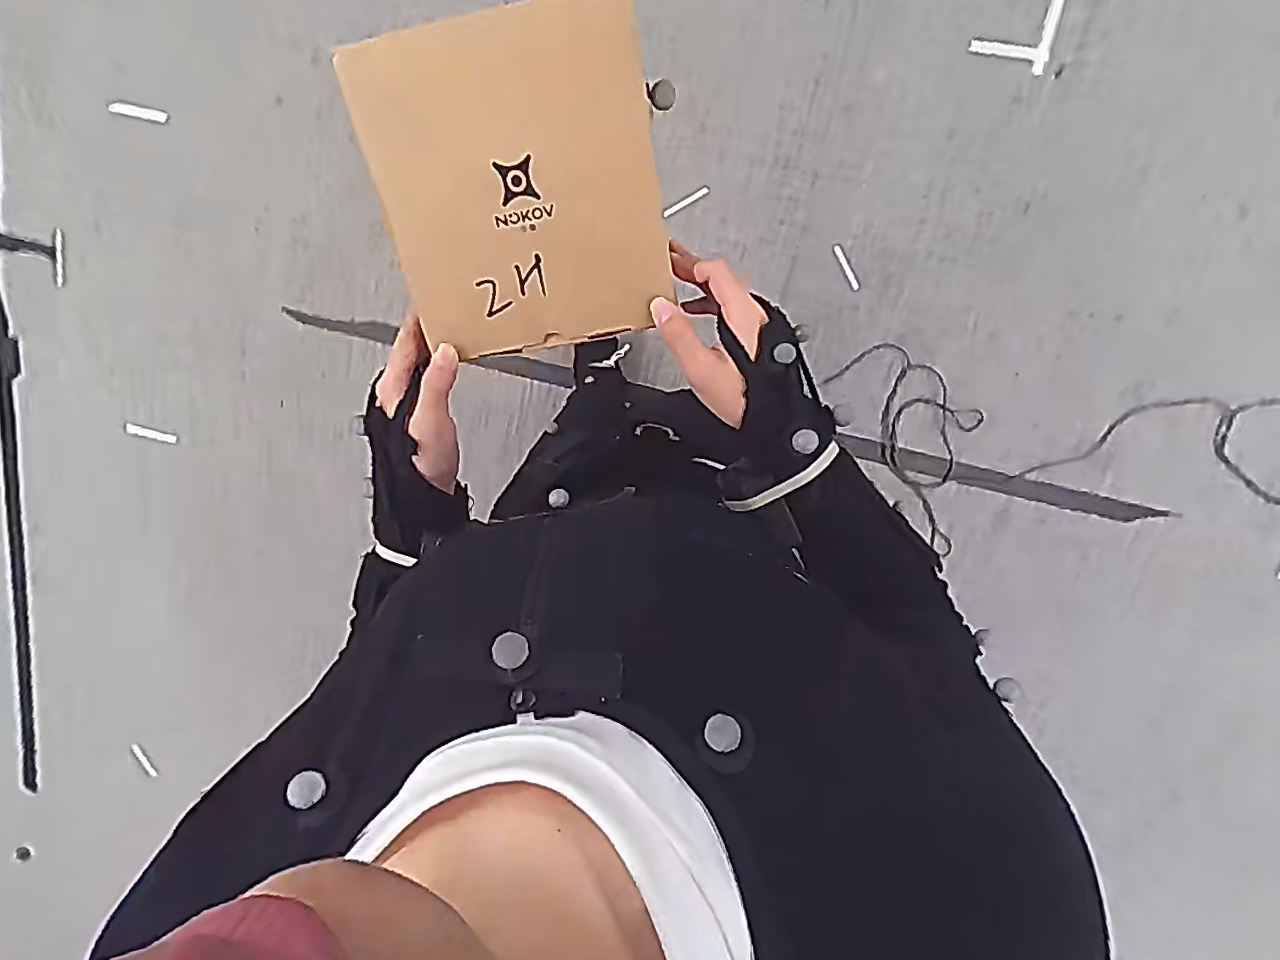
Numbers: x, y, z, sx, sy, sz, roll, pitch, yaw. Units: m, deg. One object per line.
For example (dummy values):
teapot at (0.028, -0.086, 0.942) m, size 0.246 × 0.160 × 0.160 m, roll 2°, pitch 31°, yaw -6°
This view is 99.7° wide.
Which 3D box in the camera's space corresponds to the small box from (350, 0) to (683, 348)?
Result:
small box at (-0.063, -0.205, 0.388) m, size 0.168 × 0.176 × 0.179 m, roll -7°, pitch 114°, yaw 6°
